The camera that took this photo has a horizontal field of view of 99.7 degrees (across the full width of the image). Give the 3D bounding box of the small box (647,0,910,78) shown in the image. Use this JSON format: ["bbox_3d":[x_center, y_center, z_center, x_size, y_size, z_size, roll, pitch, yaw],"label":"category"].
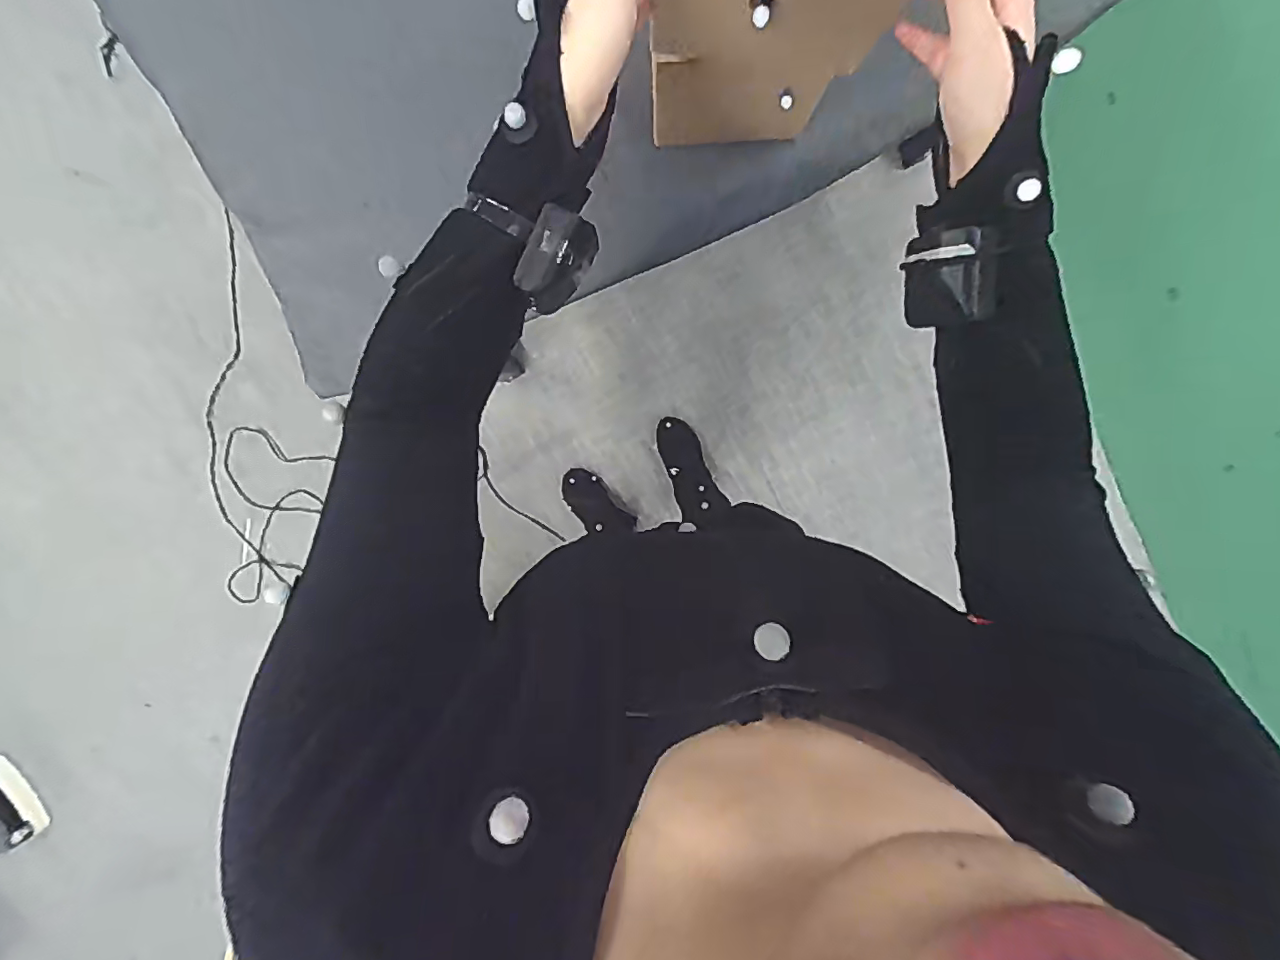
[{"bbox_3d":[0.100,-0.406,0.366,0.179,0.176,0.168,6,105,0],"label":"small box"}]
